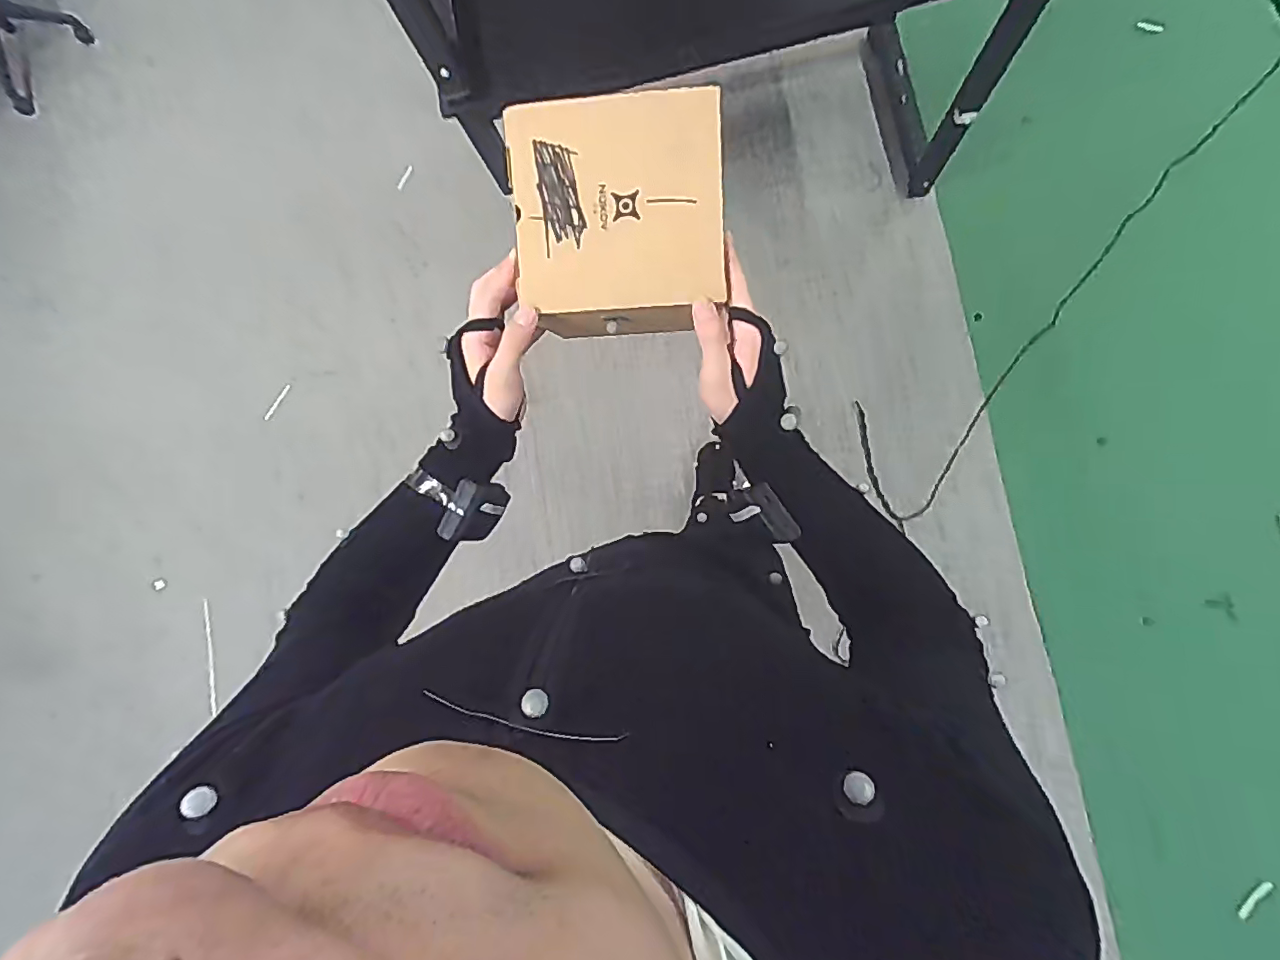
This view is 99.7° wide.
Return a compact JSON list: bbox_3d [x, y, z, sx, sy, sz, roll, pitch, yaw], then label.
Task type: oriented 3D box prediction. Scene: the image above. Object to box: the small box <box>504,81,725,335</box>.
[{"bbox_3d":[-0.013,-0.236,0.516,0.179,0.176,0.168,-3,98,5],"label":"small box"}]
